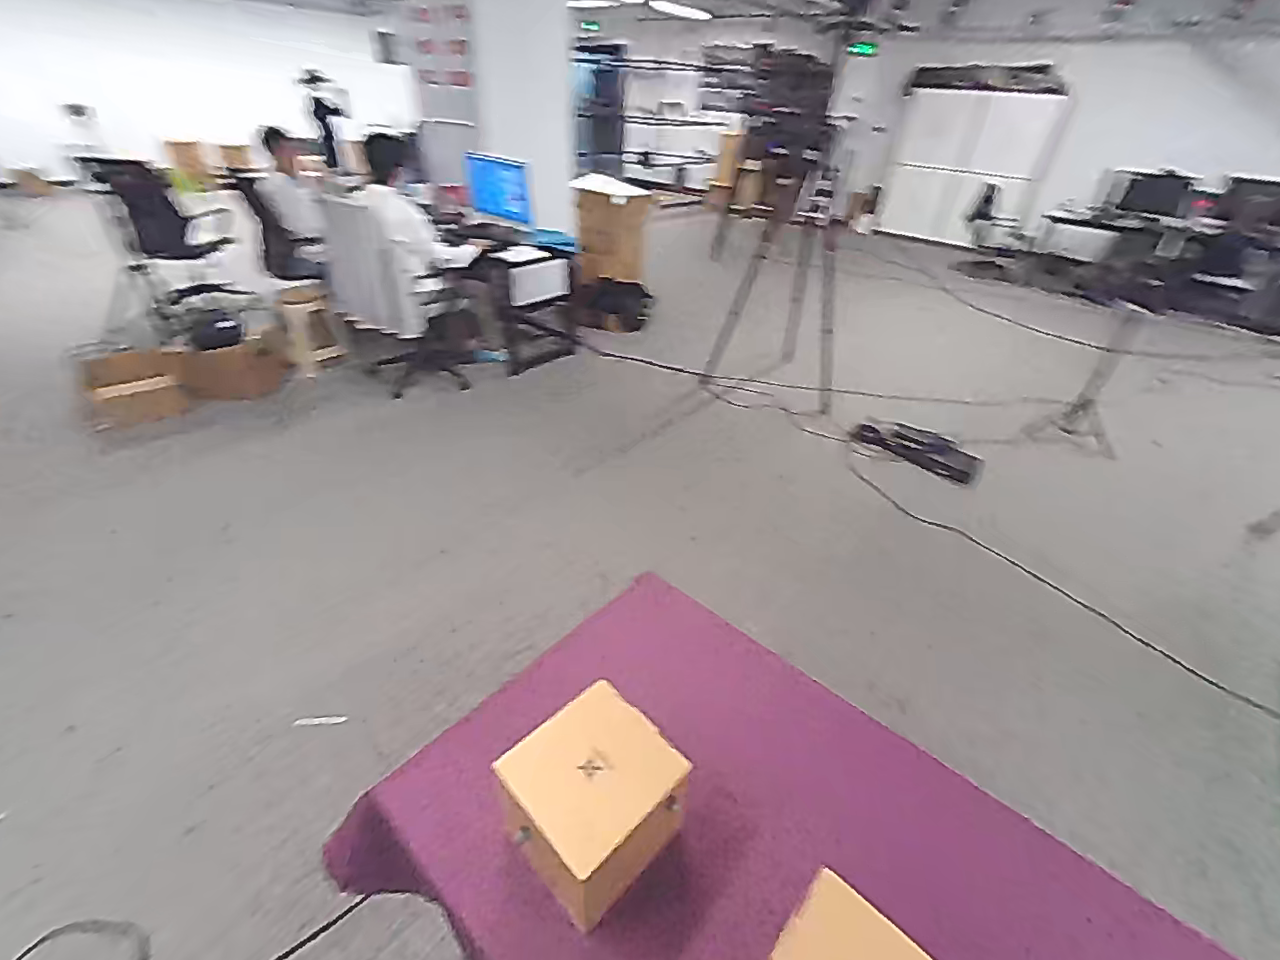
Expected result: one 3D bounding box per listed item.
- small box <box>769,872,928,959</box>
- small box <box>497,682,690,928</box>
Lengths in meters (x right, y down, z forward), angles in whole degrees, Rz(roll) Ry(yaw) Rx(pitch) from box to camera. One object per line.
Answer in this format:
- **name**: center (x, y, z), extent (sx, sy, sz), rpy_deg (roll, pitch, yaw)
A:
- **small box**: center (0.197, 0.541, 0.515), extent (0.179, 0.176, 0.168), rpy_deg (31, 44, 33)
- **small box**: center (-0.057, 0.407, 0.687), extent (0.179, 0.176, 0.168), rpy_deg (-26, 44, -37)
